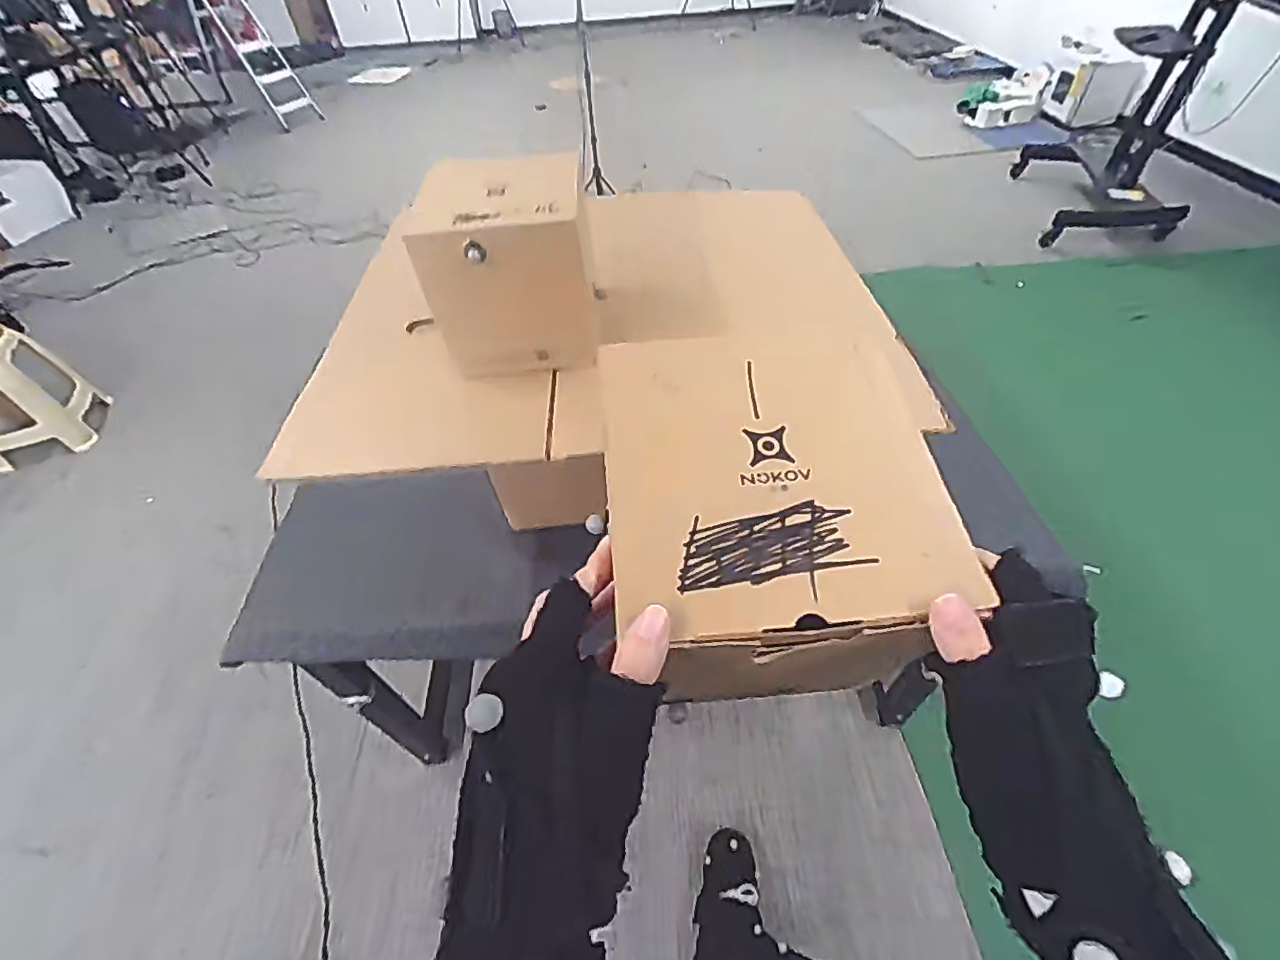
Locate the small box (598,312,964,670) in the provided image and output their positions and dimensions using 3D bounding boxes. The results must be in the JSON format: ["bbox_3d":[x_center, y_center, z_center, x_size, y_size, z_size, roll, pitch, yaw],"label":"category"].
[{"bbox_3d":[0.062,0.018,0.354,0.168,0.176,0.179,-4,58,-3],"label":"small box"}]

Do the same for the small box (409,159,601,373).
[{"bbox_3d":[-0.138,-0.245,0.624,0.168,0.176,0.179,-5,48,1],"label":"small box"}]
